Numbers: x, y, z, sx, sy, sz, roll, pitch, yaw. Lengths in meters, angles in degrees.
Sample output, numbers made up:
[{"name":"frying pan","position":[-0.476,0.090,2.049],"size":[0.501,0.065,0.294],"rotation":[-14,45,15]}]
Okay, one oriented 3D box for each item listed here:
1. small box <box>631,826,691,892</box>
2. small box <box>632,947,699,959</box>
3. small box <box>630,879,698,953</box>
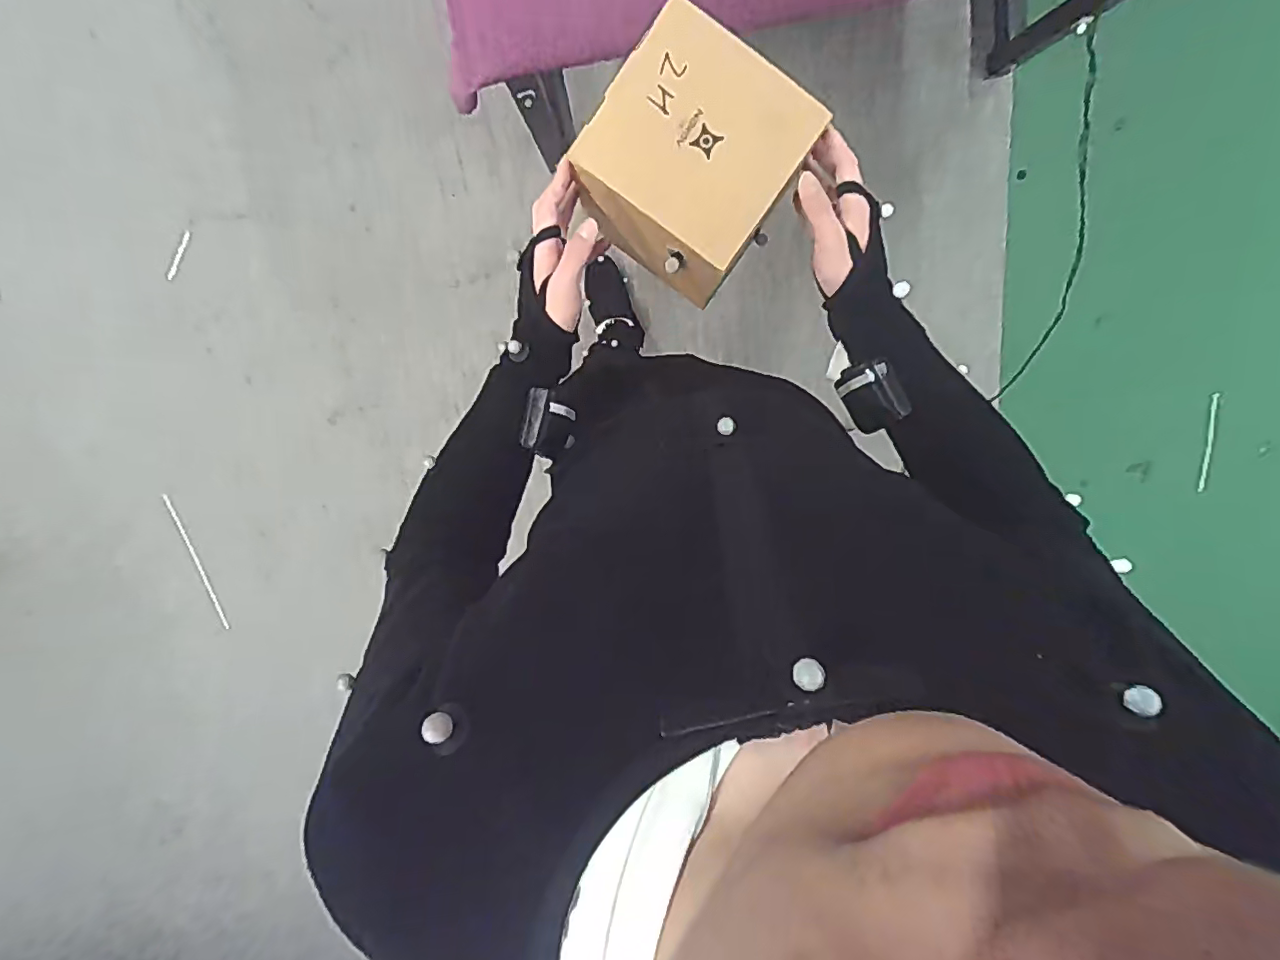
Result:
[{"name":"small box","position":[0.059,1.154,1.593],"size":[0.168,0.176,0.179],"rotation":[-3,106,-1]},{"name":"small box","position":[0.070,1.252,1.283],"size":[0.168,0.176,0.179],"rotation":[-5,108,0]},{"name":"small box","position":[0.062,1.200,1.437],"size":[0.168,0.176,0.179],"rotation":[-4,108,-1]}]
